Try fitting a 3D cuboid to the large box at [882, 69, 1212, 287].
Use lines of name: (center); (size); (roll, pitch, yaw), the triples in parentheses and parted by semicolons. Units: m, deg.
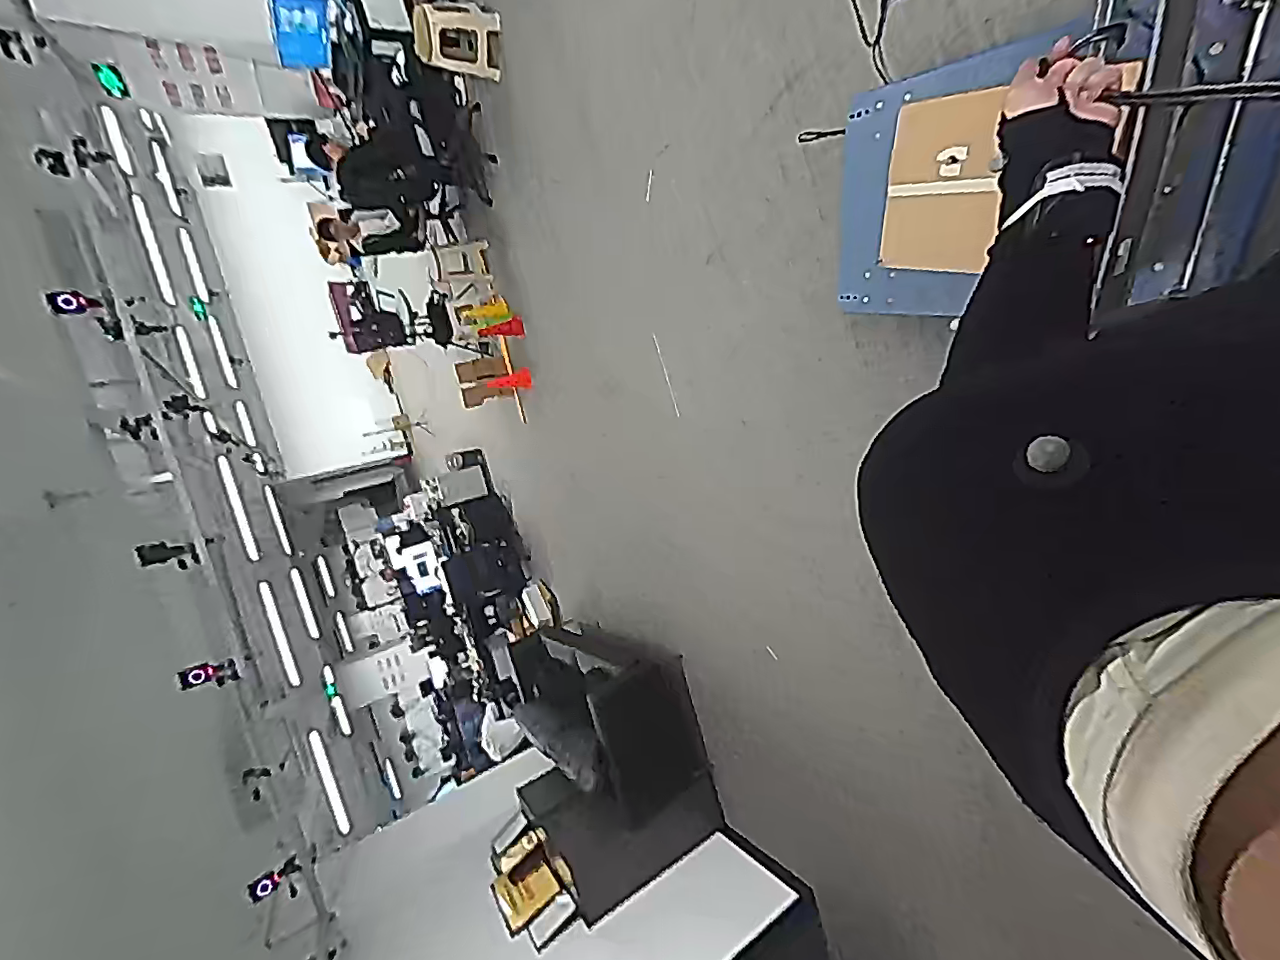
large box: (0.774, -0.580, 1.082); (0.408, 0.320, 0.320); (34, 134, 50)
